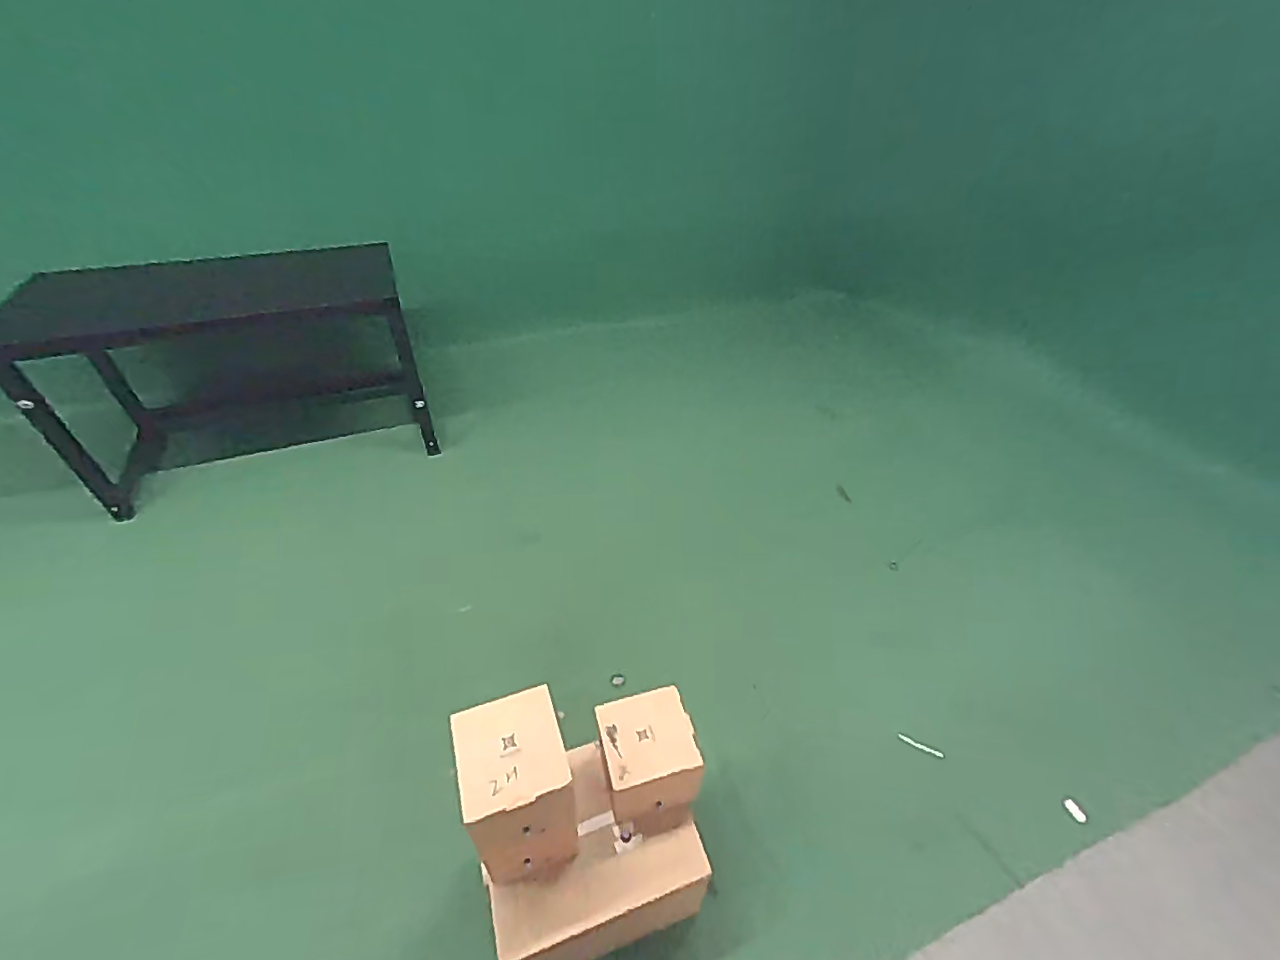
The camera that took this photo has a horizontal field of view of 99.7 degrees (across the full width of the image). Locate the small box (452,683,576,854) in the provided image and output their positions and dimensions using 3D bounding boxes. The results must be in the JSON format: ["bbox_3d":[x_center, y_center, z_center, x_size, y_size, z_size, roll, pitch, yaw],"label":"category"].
[{"bbox_3d":[-0.209,0.480,0.905,0.168,0.176,0.179,-13,43,-17],"label":"small box"}]

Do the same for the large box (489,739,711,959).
[{"bbox_3d":[-0.105,0.796,1.165,0.408,0.320,0.320,-12,43,-16],"label":"large box"}]

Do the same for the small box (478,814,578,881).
[{"bbox_3d":[-0.216,0.604,1.013,0.168,0.176,0.179,-12,43,-16],"label":"small box"}]

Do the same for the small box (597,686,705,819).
[{"bbox_3d":[0.015,0.545,1.084,0.179,0.176,0.168,-9,41,-12],"label":"small box"}]
